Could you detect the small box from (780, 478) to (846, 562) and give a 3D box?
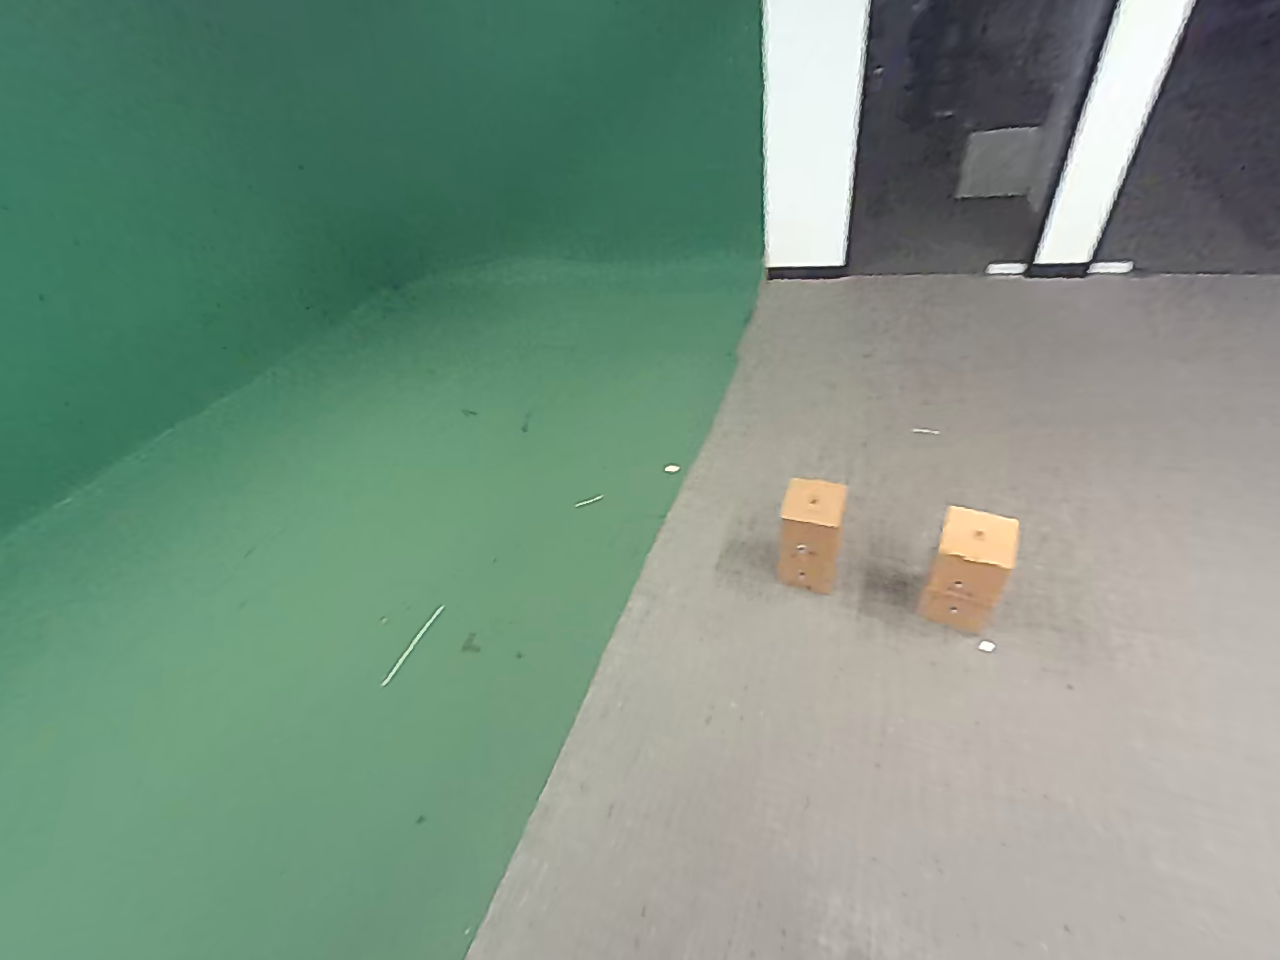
[{"bbox_3d":[0.523,0.121,1.645,0.168,0.176,0.179,9,48,23],"label":"small box"}]

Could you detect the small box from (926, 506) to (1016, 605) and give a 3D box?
[{"bbox_3d":[0.894,0.205,1.468,0.168,0.176,0.179,15,50,27],"label":"small box"}]

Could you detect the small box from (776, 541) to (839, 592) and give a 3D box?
[{"bbox_3d":[0.548,0.236,1.758,0.168,0.176,0.179,13,49,25],"label":"small box"}]
